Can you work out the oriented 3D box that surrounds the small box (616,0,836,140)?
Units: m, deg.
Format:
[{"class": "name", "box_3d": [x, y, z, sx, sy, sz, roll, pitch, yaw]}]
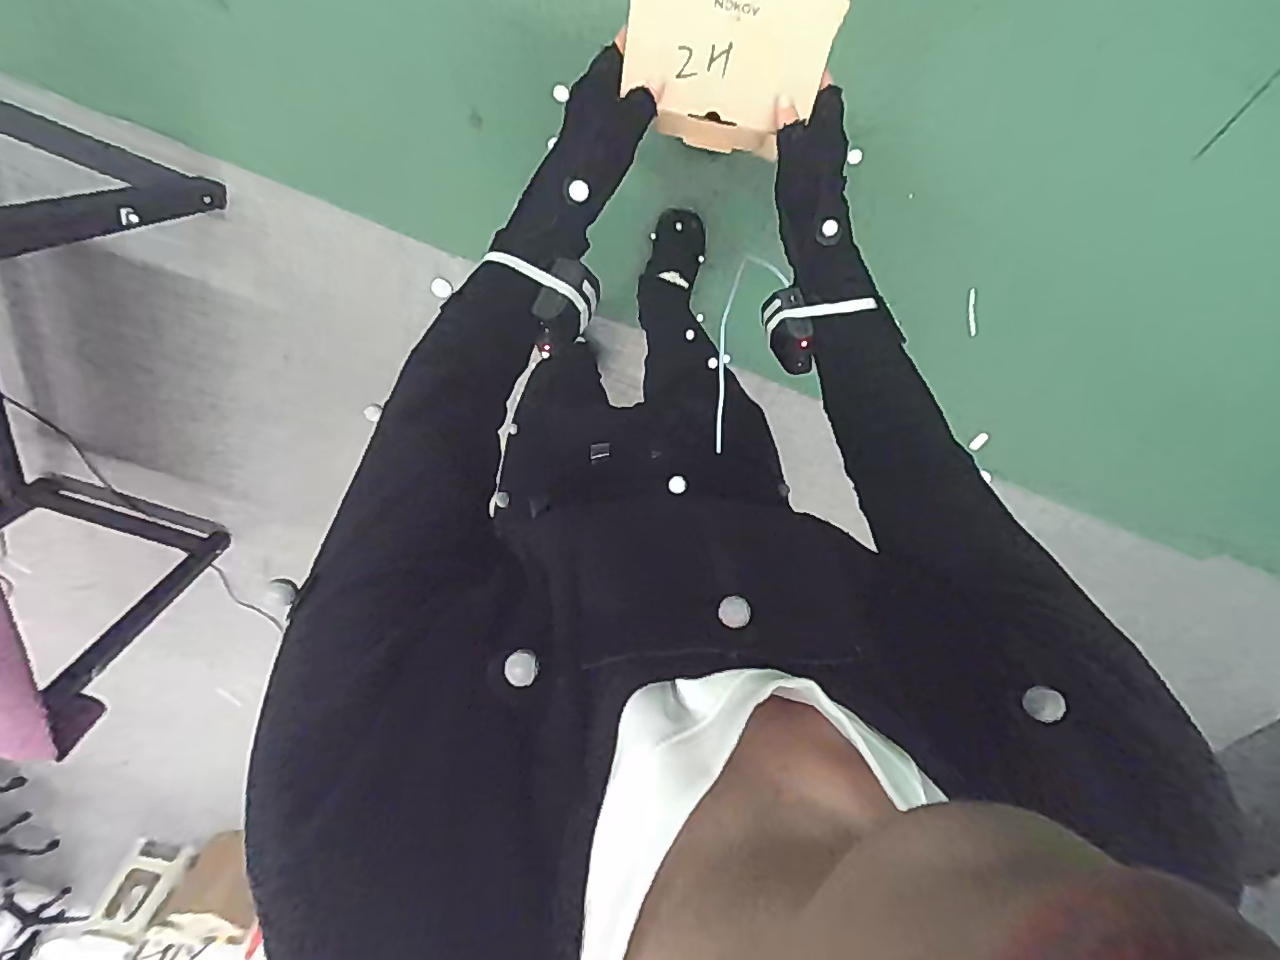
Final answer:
[{"class": "small box", "box_3d": [0.074, -0.428, 0.484, 0.168, 0.176, 0.179, 9, 127, -4]}]

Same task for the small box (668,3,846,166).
[{"class": "small box", "box_3d": [0.136, -0.553, 0.725, 0.168, 0.176, 0.179, 20, 122, -11]}]
